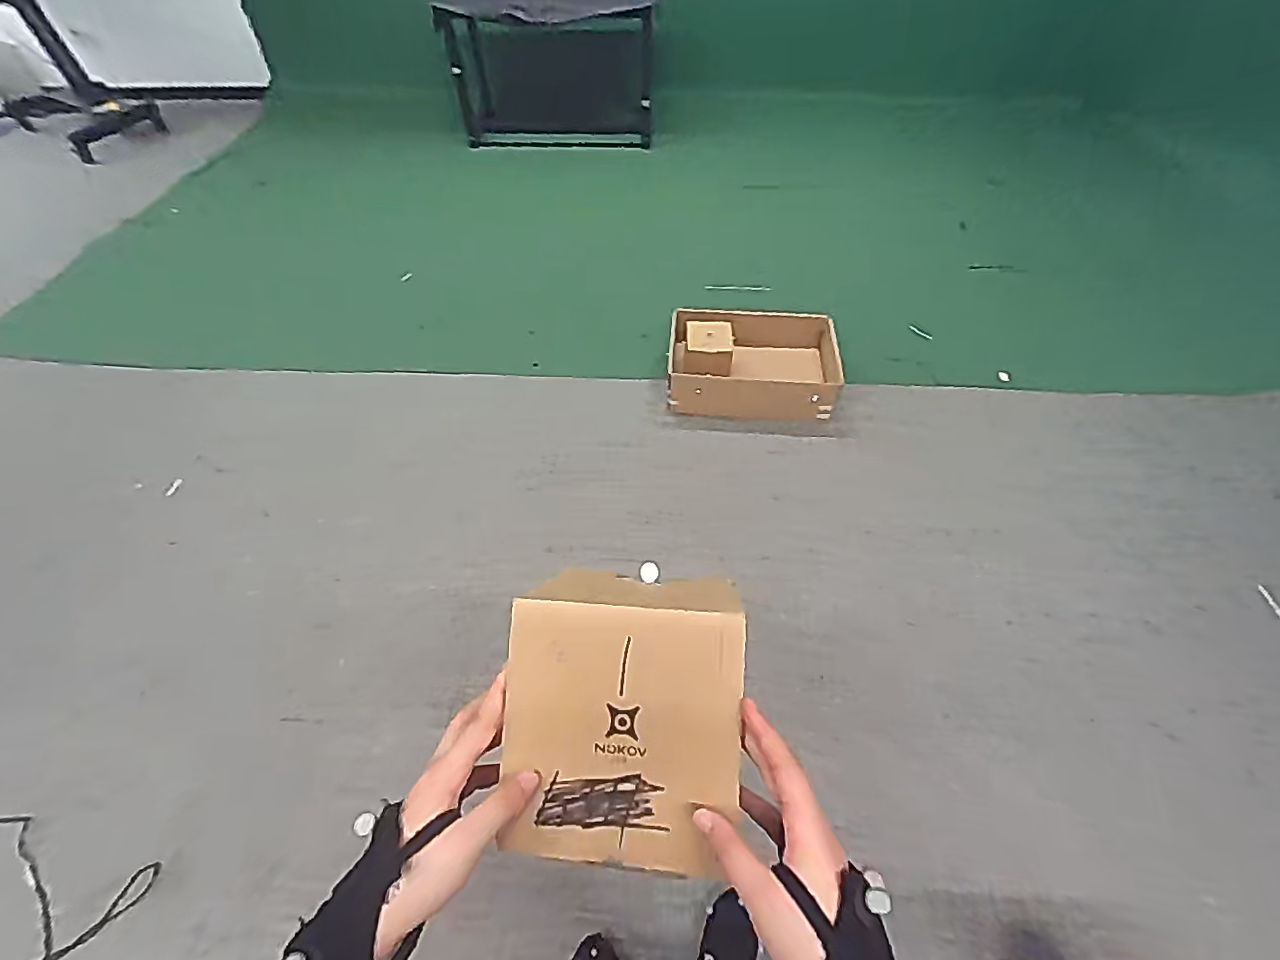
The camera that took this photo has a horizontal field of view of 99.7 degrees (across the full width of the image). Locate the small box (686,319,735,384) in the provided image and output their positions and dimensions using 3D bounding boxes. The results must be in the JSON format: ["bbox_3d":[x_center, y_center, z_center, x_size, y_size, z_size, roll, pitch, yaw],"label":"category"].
[{"bbox_3d":[0.262,-0.489,2.051,0.168,0.176,0.179,2,53,2],"label":"small box"}]

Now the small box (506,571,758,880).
[{"bbox_3d":[0.001,0.178,0.448,0.168,0.176,0.179,4,87,5],"label":"small box"}]
